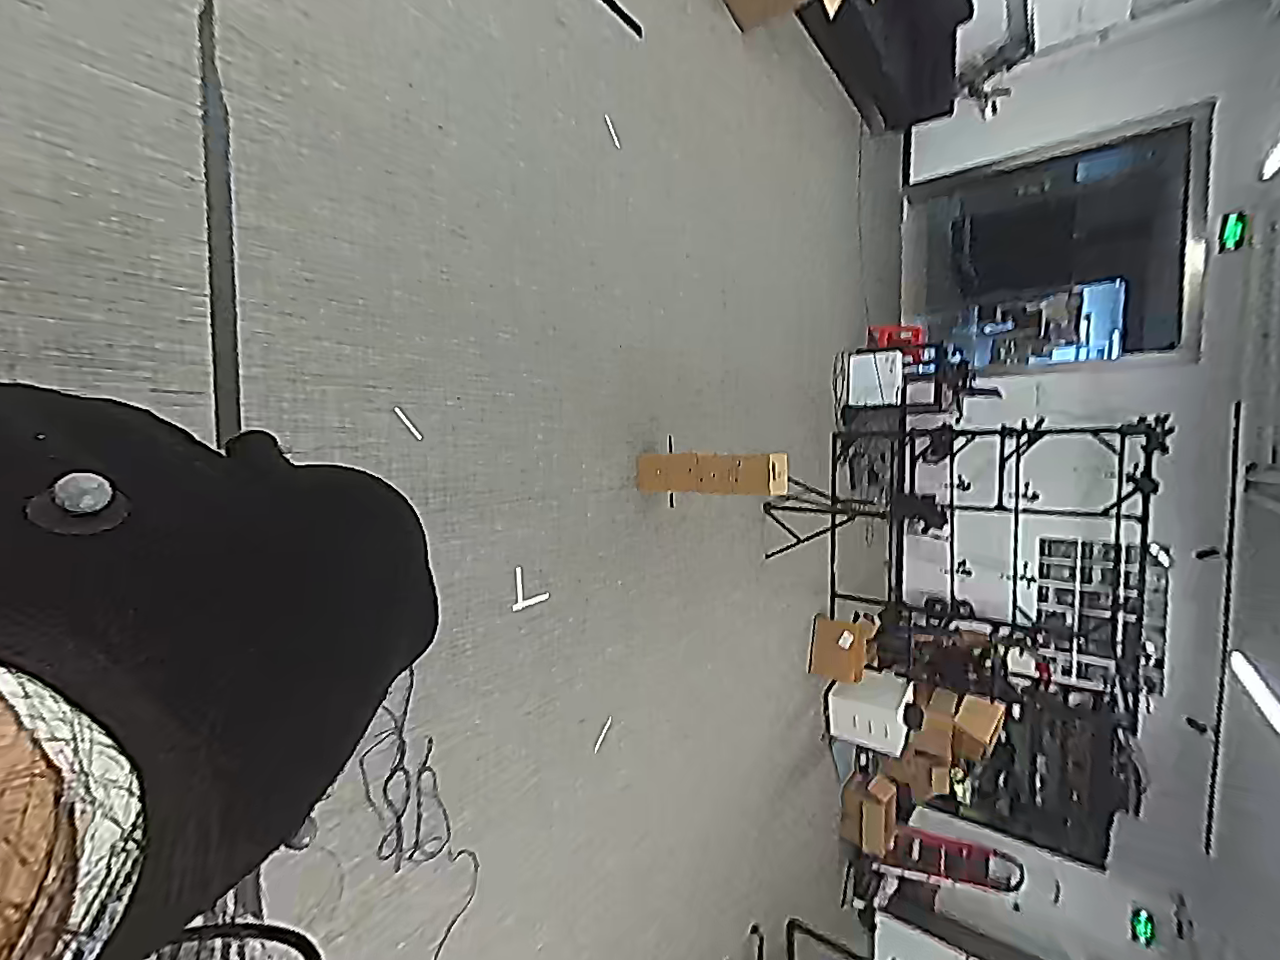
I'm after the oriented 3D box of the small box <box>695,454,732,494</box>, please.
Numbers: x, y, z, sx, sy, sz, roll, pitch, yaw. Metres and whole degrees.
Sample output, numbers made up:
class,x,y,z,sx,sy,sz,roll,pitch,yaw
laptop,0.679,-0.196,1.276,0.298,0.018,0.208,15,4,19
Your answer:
class,x,y,z,sx,sy,sz,roll,pitch,yaw
small box,0.346,-0.026,2.331,0.179,0.176,0.168,-3,94,-51

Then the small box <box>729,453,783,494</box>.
class,x,y,z,sx,sy,sz,roll,pitch,yaw
small box,0.478,-0.026,2.233,0.179,0.176,0.168,-5,95,-53

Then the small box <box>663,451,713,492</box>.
class,x,y,z,sx,sy,sz,roll,pitch,yaw
small box,0.215,-0.037,2.428,0.168,0.176,0.179,-2,92,-52

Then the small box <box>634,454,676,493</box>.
class,x,y,z,sx,sy,sz,roll,pitch,yaw
small box,0.086,-0.034,2.531,0.168,0.176,0.179,-6,96,-52
